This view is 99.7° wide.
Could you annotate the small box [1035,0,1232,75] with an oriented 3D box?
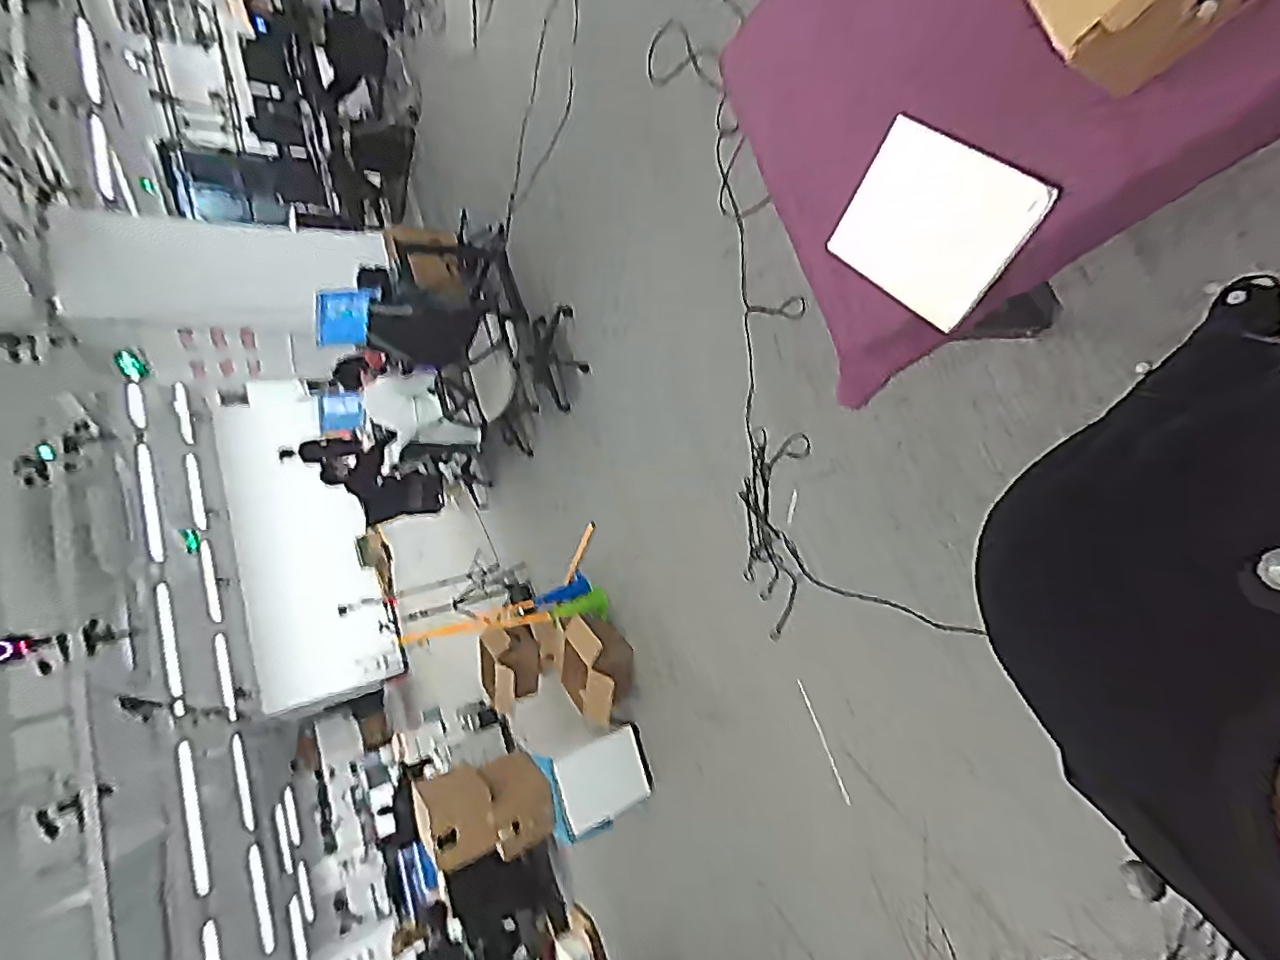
[{"bbox_3d":[0.482,-0.523,0.504,0.168,0.176,0.179,-35,71,54],"label":"small box"}]
